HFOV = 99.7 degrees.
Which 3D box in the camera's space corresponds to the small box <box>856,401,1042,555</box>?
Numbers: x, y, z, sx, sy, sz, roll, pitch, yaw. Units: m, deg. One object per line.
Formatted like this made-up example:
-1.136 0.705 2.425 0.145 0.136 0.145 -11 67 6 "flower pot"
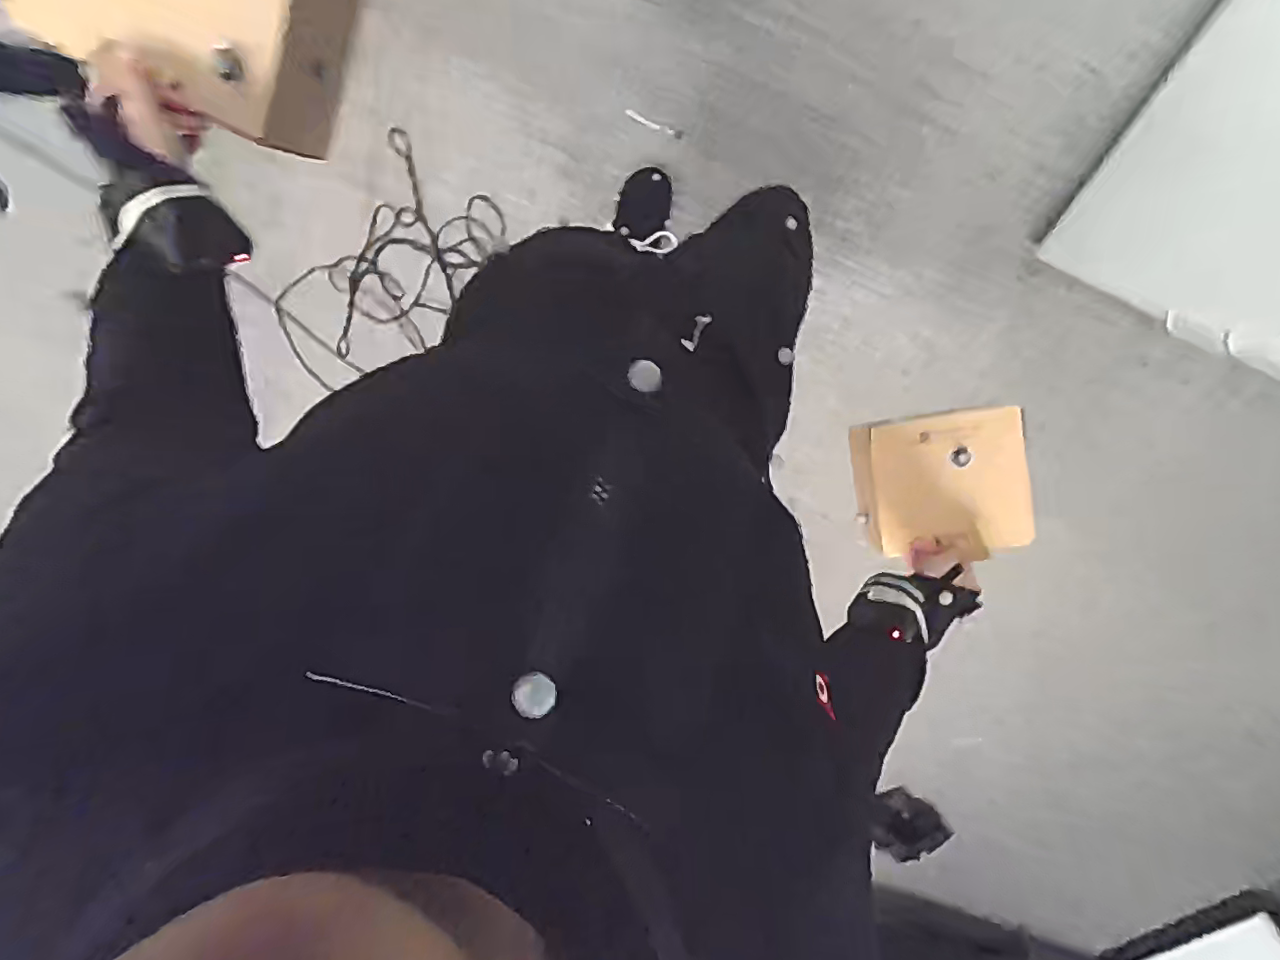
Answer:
0.391 -0.009 0.712 0.168 0.179 0.176 -8 94 13 "small box"
